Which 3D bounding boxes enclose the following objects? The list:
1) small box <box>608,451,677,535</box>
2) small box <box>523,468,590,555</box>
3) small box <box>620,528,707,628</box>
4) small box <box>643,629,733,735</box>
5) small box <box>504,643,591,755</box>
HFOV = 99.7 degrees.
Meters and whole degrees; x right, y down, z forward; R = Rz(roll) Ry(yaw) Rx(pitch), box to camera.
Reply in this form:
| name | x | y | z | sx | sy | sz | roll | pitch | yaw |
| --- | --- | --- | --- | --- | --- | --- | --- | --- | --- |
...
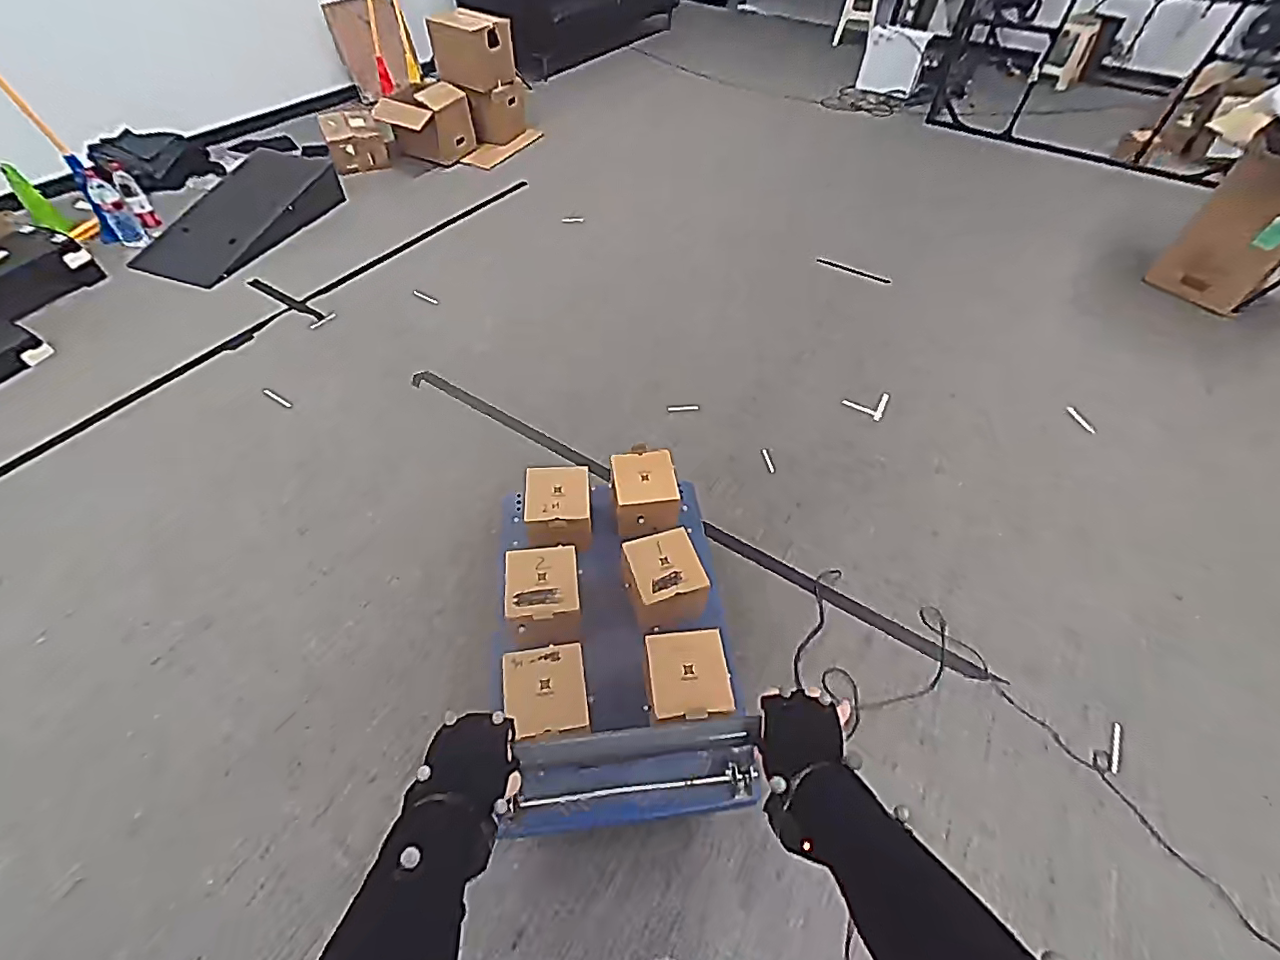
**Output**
| name | x | y | z | sx | sy | sz | roll | pitch | yaw |
| --- | --- | --- | --- | --- | --- | --- | --- | --- | --- |
| small box | 0.003 | 0.043 | 1.523 | 0.168 | 0.176 | 0.179 | -6 | 52 | -8 |
| small box | -0.222 | 0.086 | 1.472 | 0.168 | 0.176 | 0.179 | -3 | 52 | -5 |
| small box | 0.053 | 0.252 | 1.355 | 0.168 | 0.176 | 0.179 | -14 | 52 | -14 |
| small box | 0.098 | 0.451 | 1.197 | 0.168 | 0.176 | 0.179 | -3 | 50 | -6 |
| small box | -0.197 | 0.475 | 1.159 | 0.168 | 0.176 | 0.179 | -6 | 52 | -9 |
